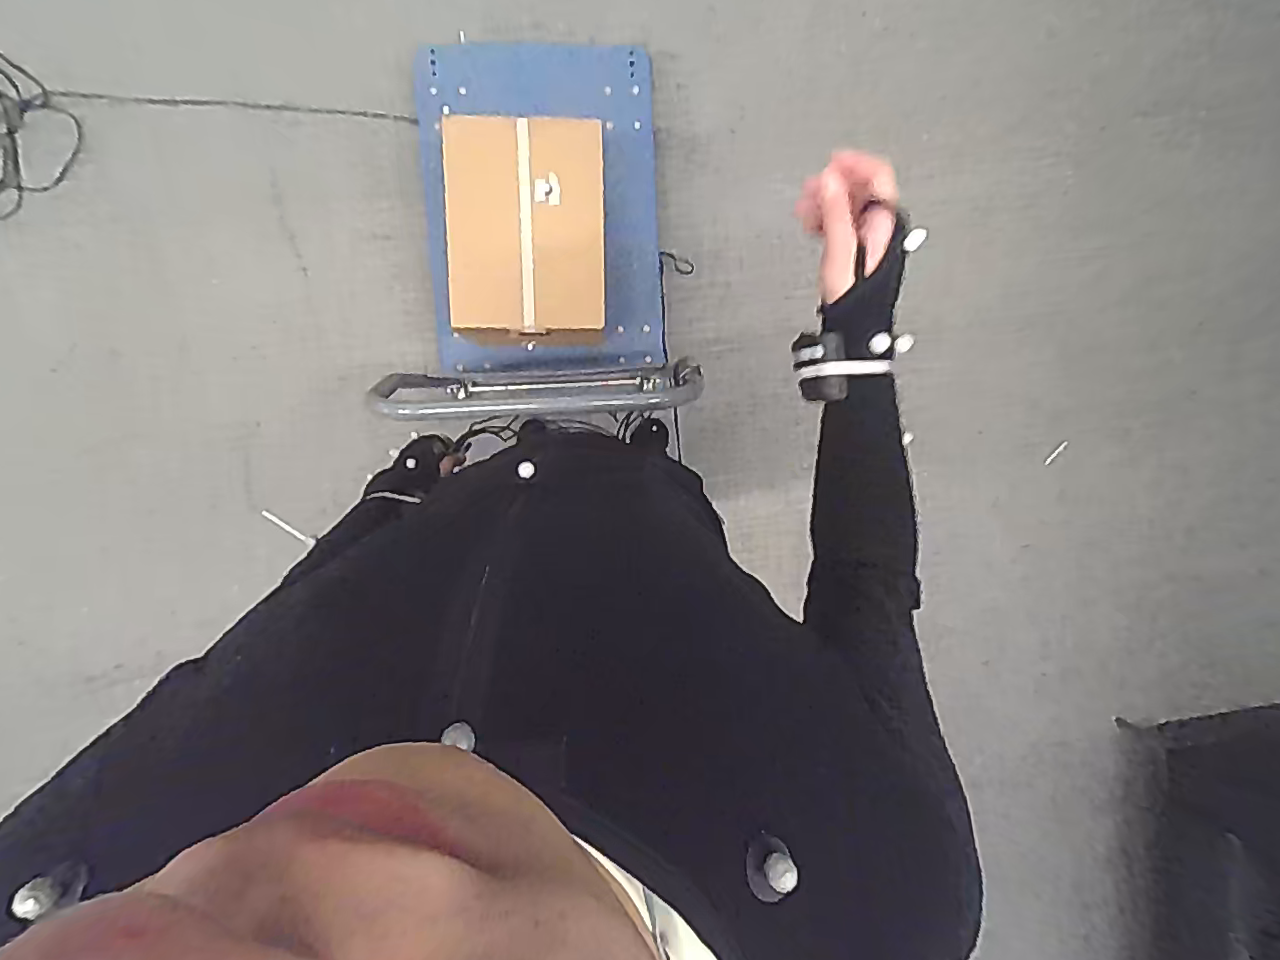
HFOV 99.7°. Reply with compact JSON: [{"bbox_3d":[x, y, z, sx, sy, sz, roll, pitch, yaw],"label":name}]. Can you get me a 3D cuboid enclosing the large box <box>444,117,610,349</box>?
[{"bbox_3d":[-0.233,-0.519,1.219,0.320,0.320,0.408,-1,97,-6],"label":"large box"}]
